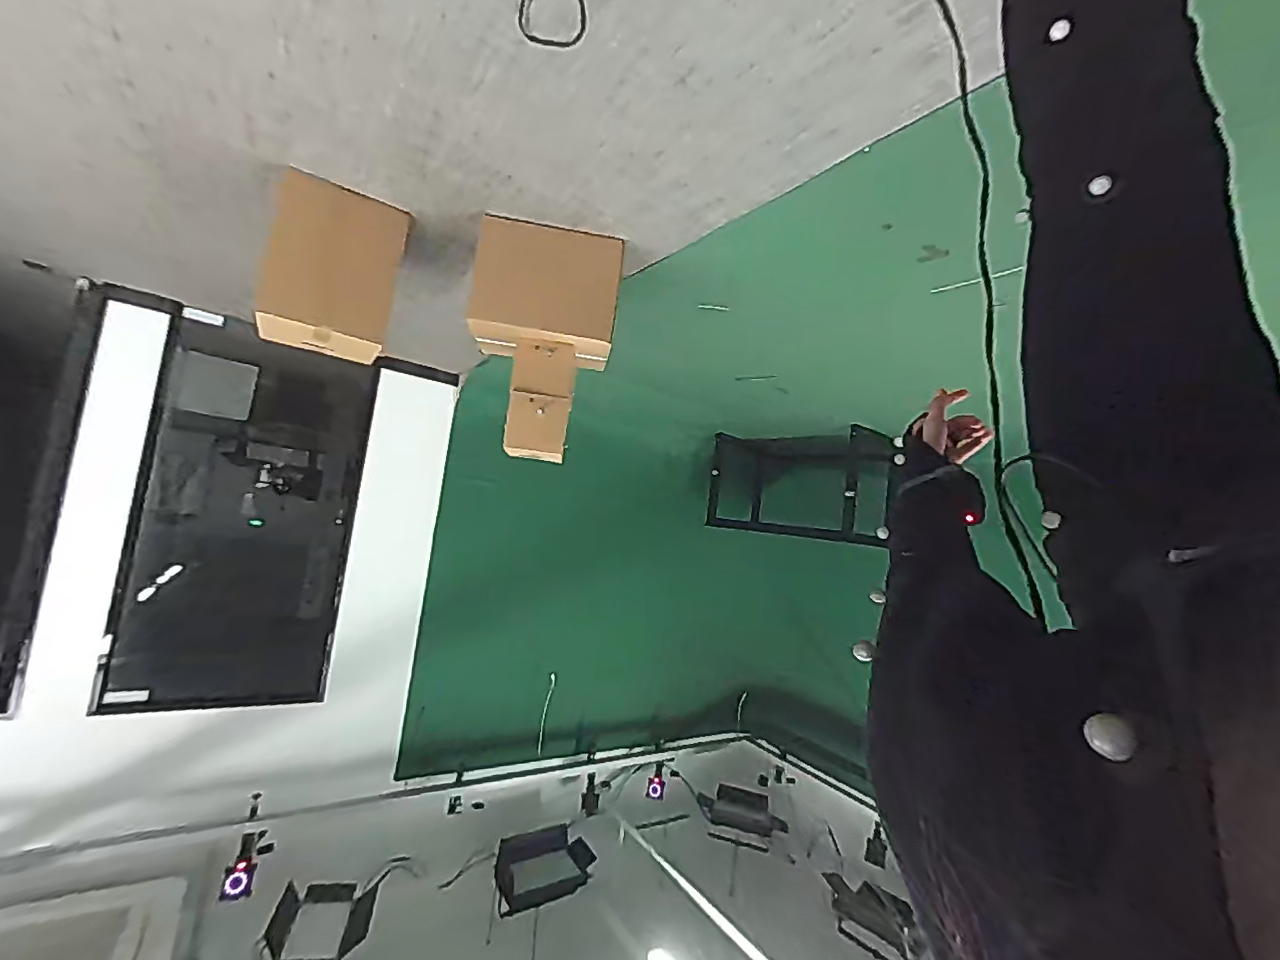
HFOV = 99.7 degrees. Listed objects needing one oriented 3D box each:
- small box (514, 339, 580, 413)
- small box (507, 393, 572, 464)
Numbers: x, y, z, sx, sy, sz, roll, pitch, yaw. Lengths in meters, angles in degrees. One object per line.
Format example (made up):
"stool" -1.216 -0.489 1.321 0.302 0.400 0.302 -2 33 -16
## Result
"small box" -0.277 -0.312 1.644 0.168 0.176 0.179 7 174 -2
"small box" -0.296 -0.151 1.616 0.168 0.176 0.179 7 174 -7
